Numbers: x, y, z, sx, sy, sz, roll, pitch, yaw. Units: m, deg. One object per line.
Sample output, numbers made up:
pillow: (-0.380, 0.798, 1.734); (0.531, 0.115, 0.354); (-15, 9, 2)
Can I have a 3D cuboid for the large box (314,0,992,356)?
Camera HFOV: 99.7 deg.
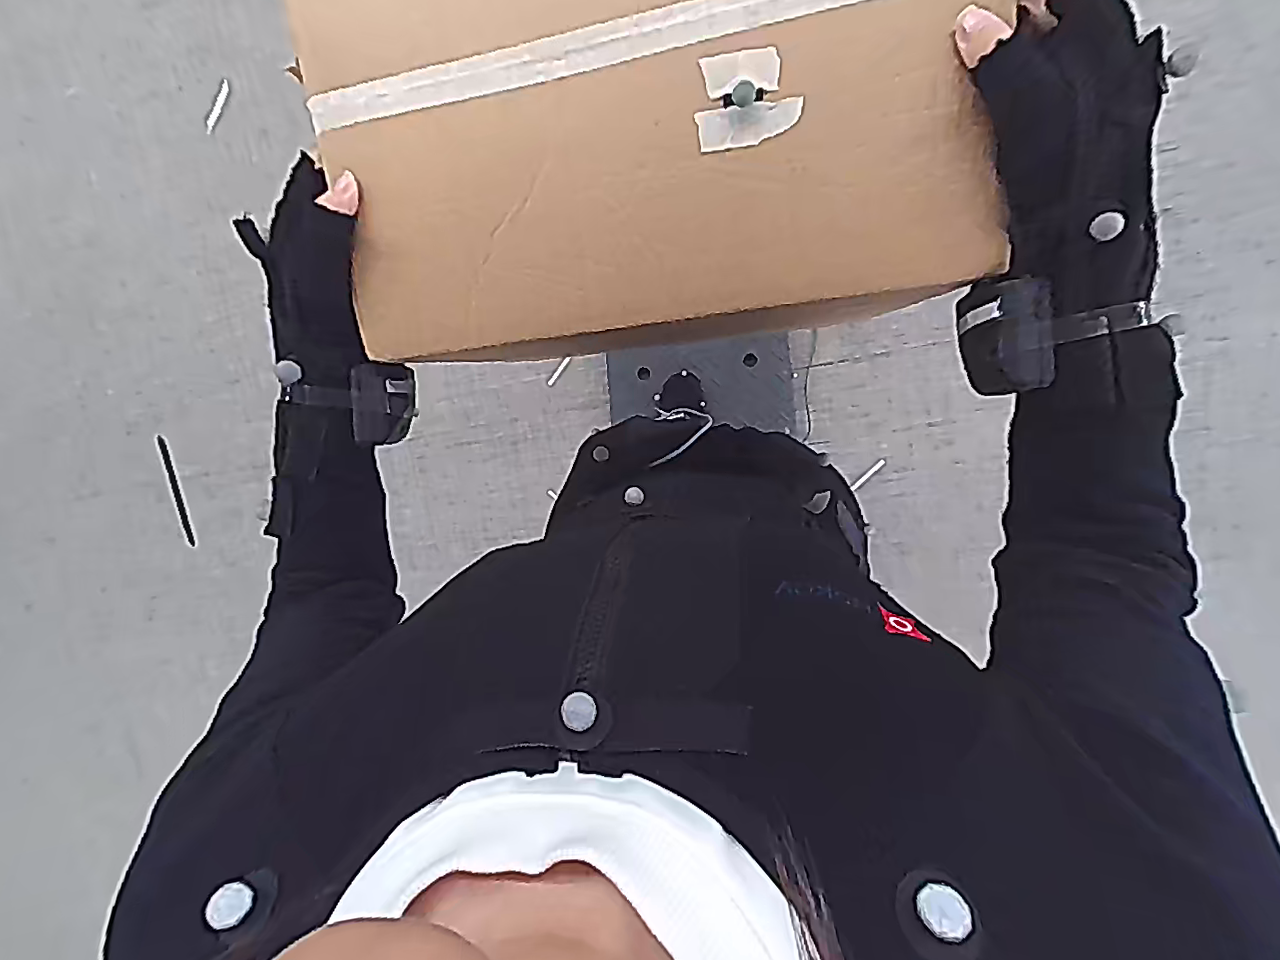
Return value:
large box: (0.014, -0.292, 0.469); (0.408, 0.320, 0.320); (-5, 102, 10)
